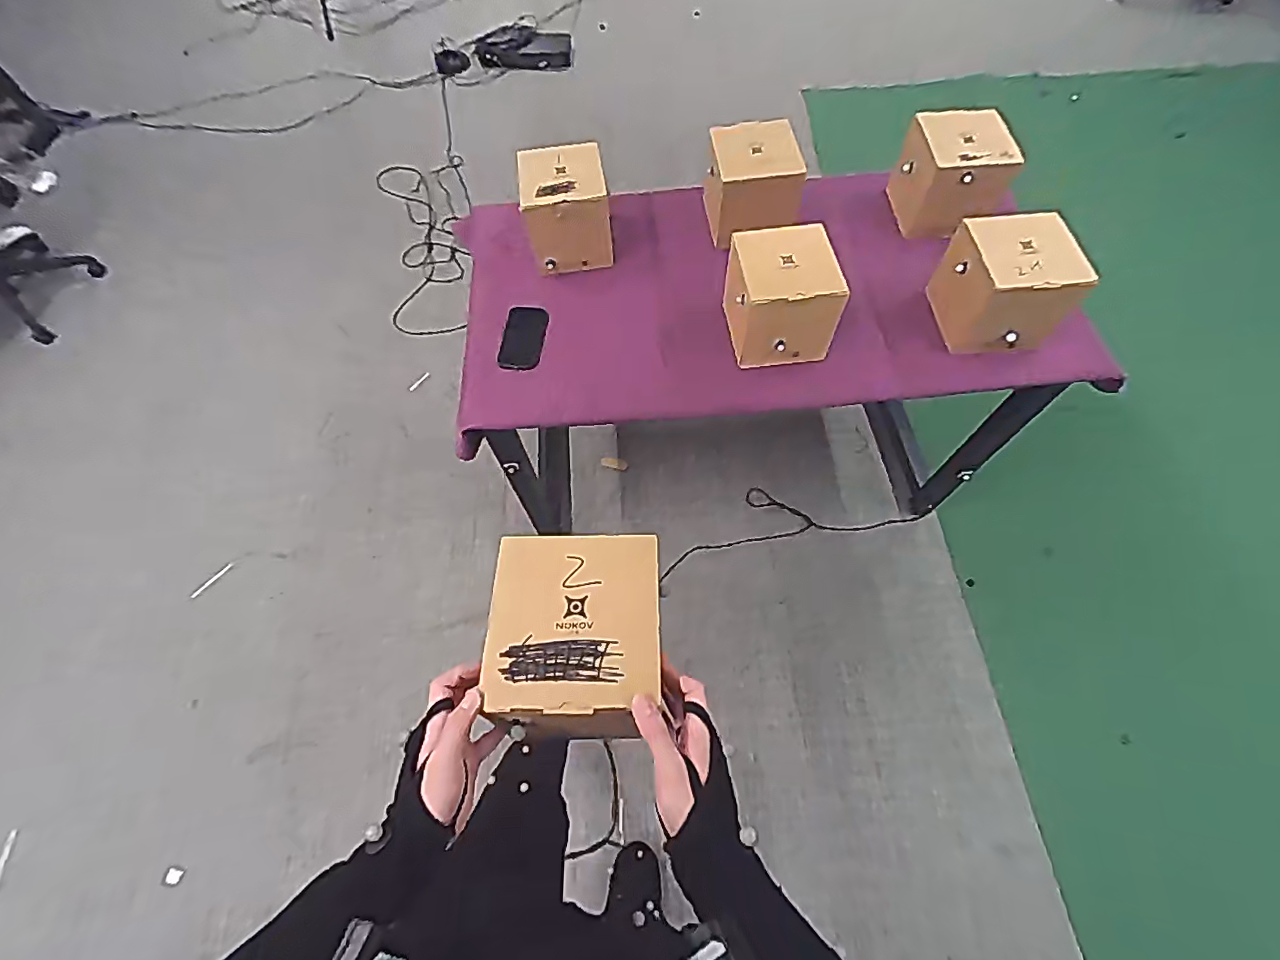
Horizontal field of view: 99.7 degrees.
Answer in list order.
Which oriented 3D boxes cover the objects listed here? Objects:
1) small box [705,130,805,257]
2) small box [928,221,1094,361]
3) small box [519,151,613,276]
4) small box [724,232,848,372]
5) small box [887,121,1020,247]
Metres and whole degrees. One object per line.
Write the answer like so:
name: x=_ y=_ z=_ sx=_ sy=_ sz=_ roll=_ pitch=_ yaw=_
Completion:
small box: x=0.234 y=-0.605 z=1.149 sx=0.168 sy=0.176 sz=0.179 roll=-6 pitch=63 yaw=0
small box: x=0.657 y=-0.341 z=0.989 sx=0.168 sy=0.176 sz=0.179 roll=-3 pitch=62 yaw=2
small box: x=-0.150 y=-0.547 z=1.130 sx=0.168 sy=0.176 sz=0.179 roll=-8 pitch=62 yaw=-3
small box: x=0.257 y=-0.325 z=0.999 sx=0.168 sy=0.176 sz=0.179 roll=-6 pitch=62 yaw=-2
small box: x=0.644 y=-0.620 z=1.140 sx=0.168 sy=0.176 sz=0.179 roll=-3 pitch=62 yaw=1
